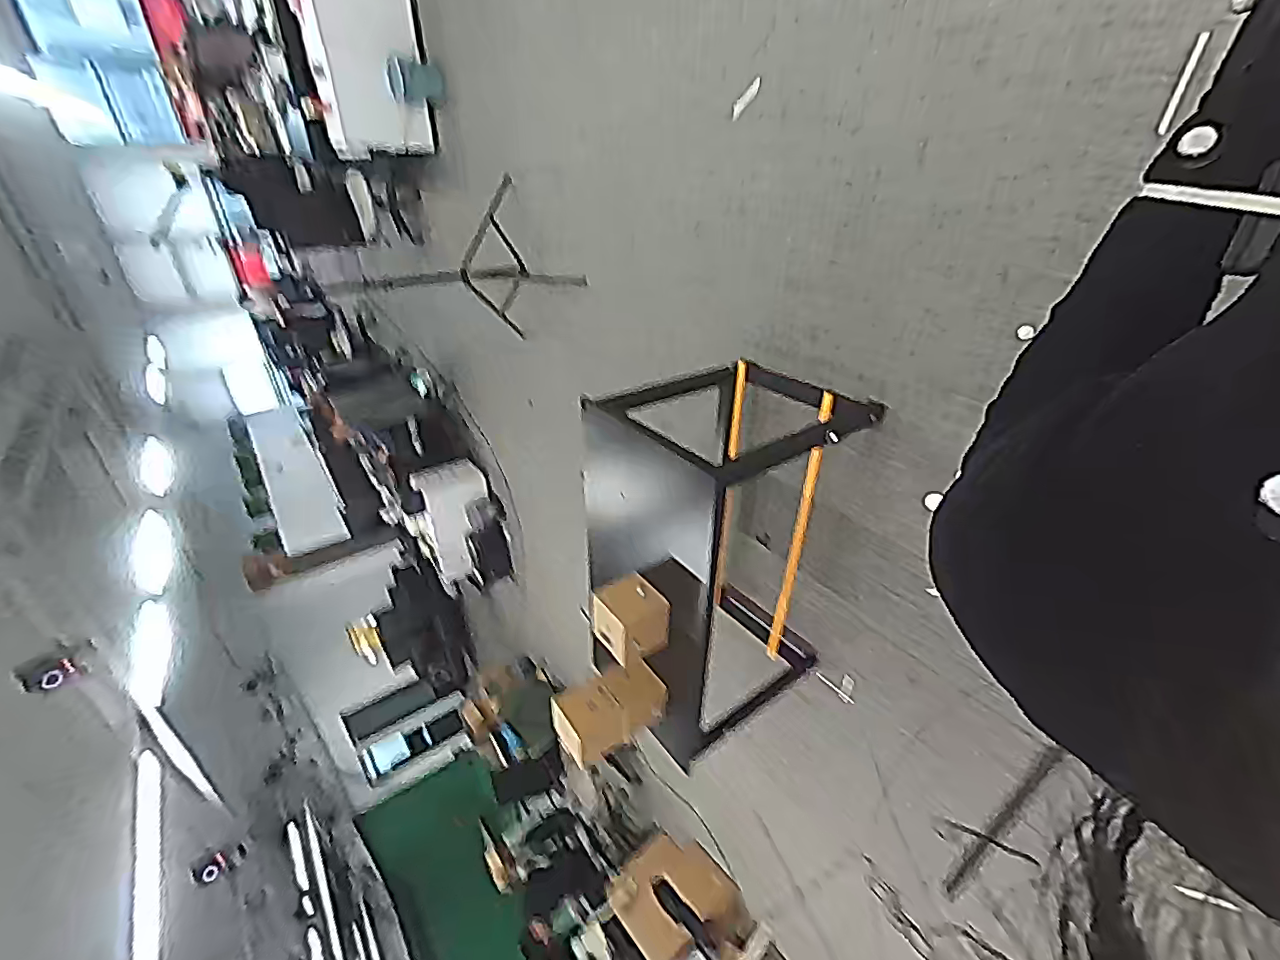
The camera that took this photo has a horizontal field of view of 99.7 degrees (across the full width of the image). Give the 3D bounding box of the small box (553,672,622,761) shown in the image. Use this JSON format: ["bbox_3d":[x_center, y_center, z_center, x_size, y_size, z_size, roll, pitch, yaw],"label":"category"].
[{"bbox_3d":[-0.169,0.768,1.772,0.168,0.176,0.179,39,139,41],"label":"small box"}]

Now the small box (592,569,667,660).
[{"bbox_3d":[-0.032,0.407,1.662,0.168,0.176,0.179,36,135,42],"label":"small box"}]

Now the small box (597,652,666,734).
[{"bbox_3d":[-0.033,0.716,1.850,0.179,0.176,0.168,38,138,40],"label":"small box"}]
